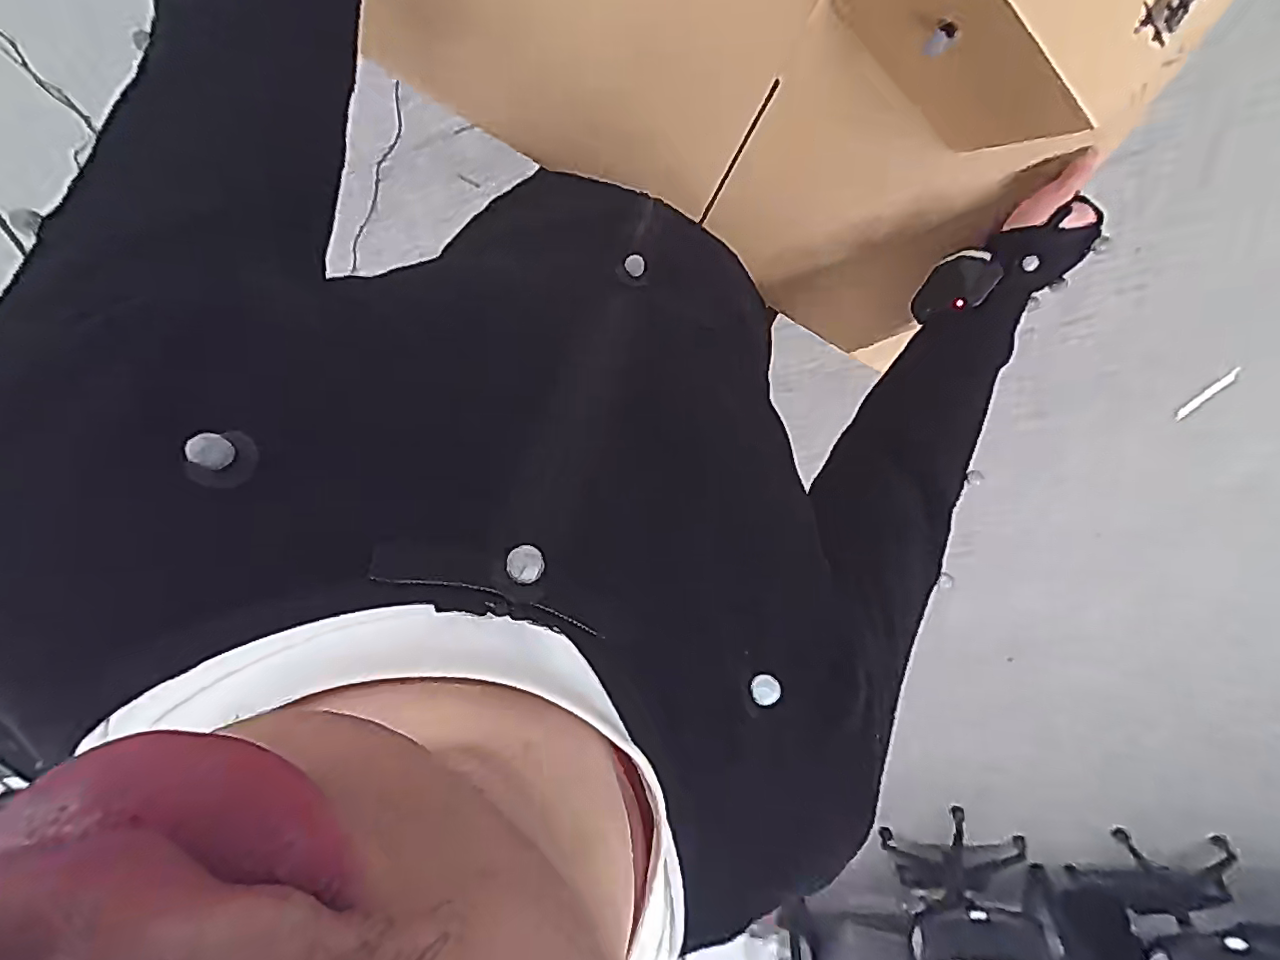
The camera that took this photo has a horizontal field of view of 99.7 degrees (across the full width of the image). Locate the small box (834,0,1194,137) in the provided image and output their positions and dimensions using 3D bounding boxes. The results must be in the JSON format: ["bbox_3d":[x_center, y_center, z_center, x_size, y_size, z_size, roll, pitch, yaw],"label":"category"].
[{"bbox_3d":[0.268,-0.373,0.373,0.179,0.176,0.168,36,111,-16],"label":"small box"}]
